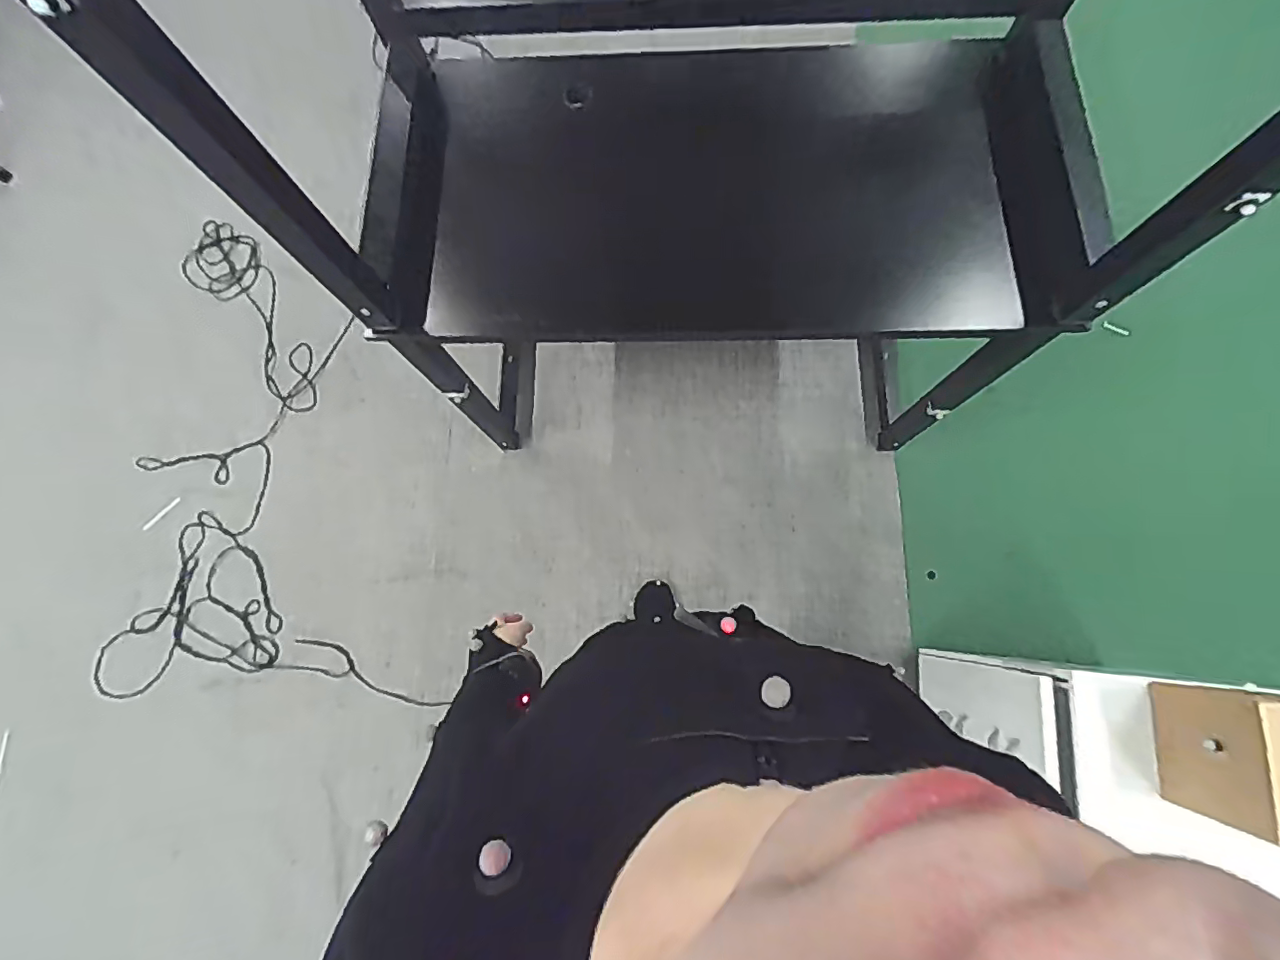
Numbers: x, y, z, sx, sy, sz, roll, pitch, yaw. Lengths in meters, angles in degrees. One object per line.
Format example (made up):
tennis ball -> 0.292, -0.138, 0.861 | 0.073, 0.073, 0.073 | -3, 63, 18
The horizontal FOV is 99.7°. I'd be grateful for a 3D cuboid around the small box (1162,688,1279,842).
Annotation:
small box -> 0.881, 0.392, 0.746 | 0.168, 0.176, 0.179 | 3, 77, 4
